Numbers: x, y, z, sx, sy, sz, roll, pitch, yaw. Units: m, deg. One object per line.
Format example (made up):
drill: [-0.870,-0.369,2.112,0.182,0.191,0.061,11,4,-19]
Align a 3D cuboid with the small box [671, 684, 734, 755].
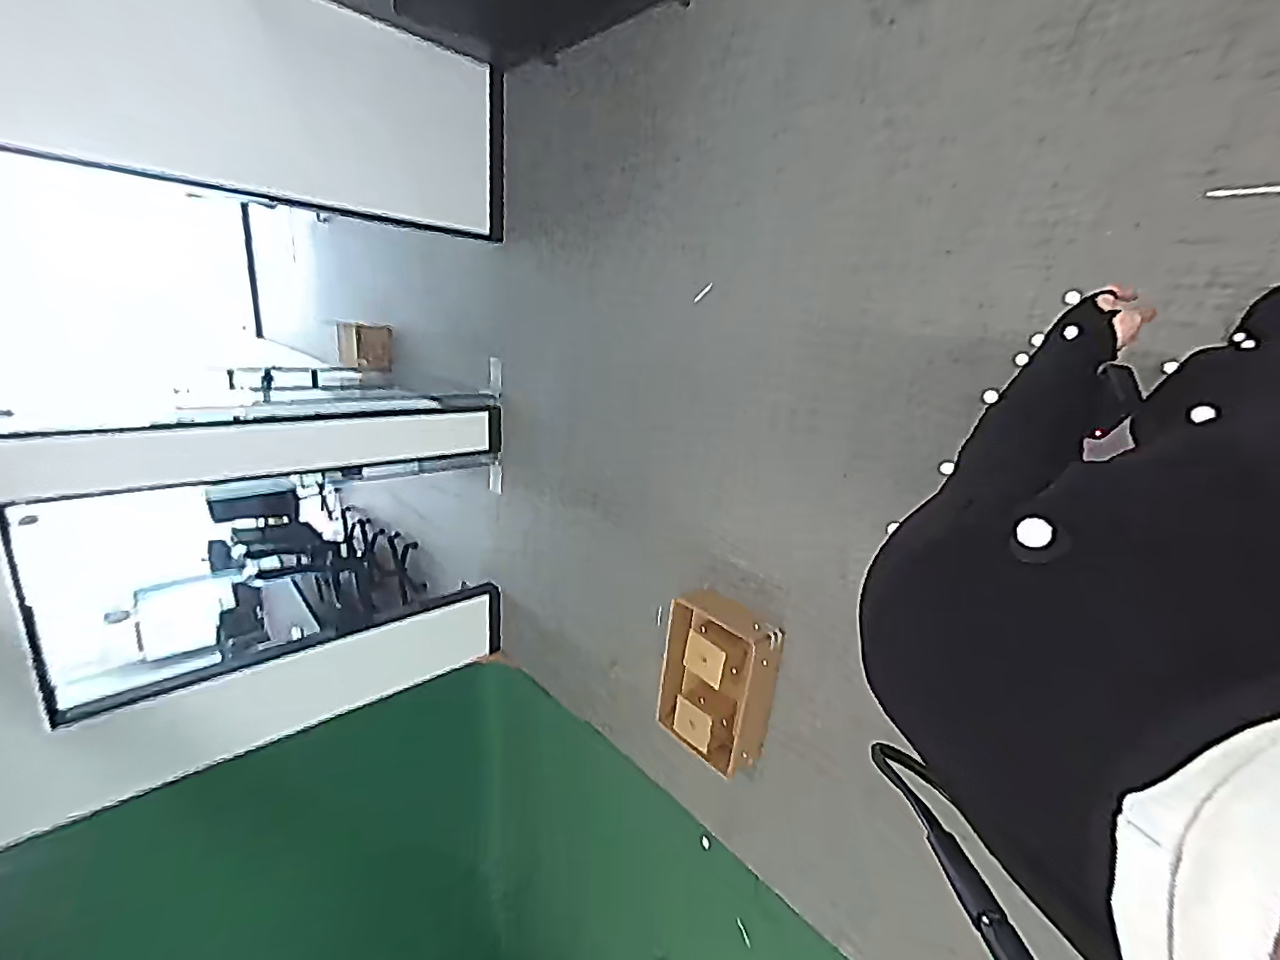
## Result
small box: [0.249,0.943,2.150,0.179,0.176,0.168,22,111,43]

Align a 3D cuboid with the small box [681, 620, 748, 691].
small box: [0.288,0.659,2.060,0.179,0.176,0.168,26,116,41]
